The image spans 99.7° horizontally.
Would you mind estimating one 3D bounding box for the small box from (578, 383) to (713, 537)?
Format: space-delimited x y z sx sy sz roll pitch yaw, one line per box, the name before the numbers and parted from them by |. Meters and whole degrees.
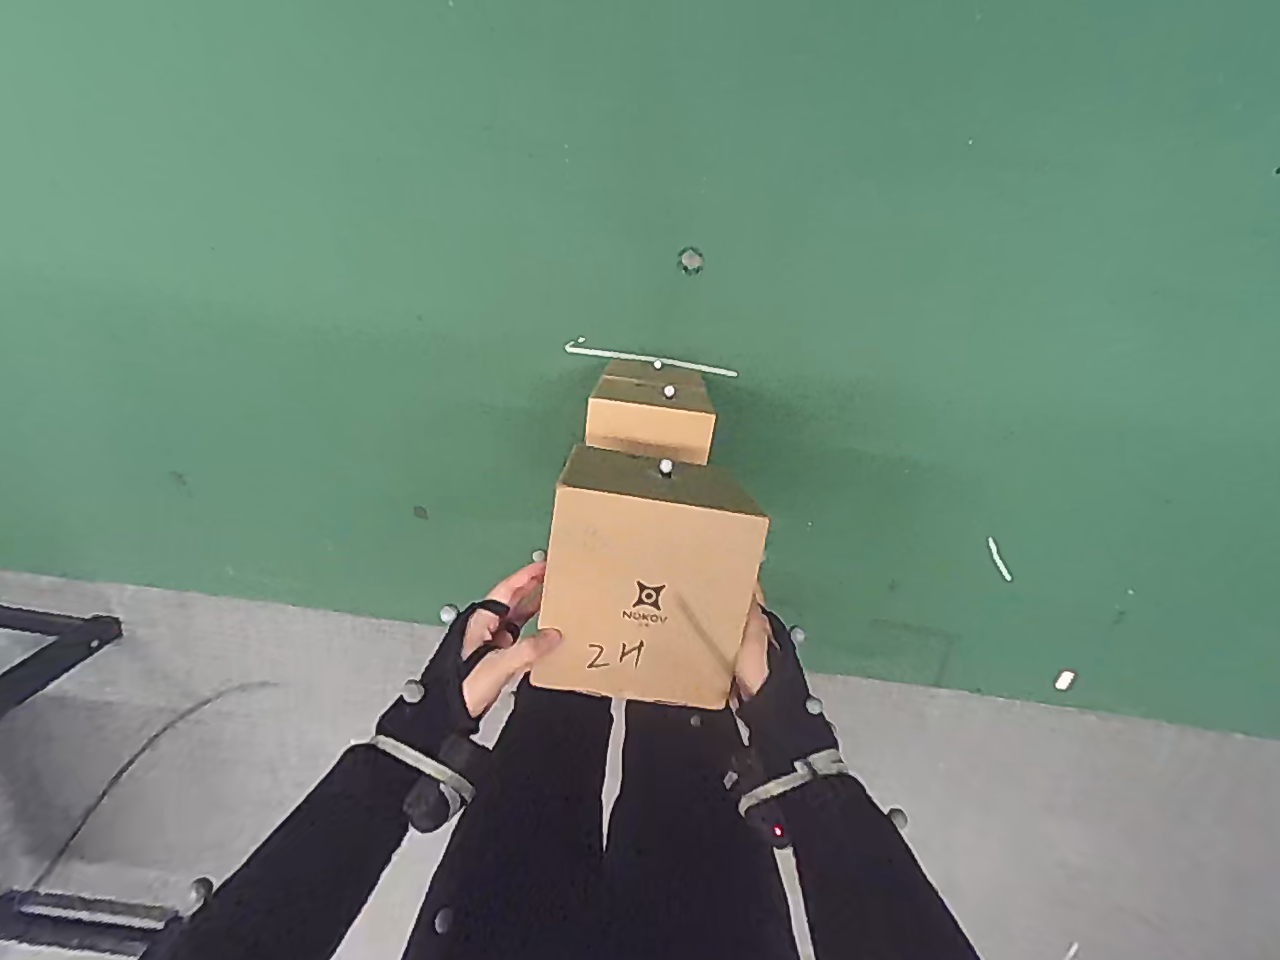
small box | 0.006 -0.038 0.795 0.168 0.176 0.179 6 111 -1
